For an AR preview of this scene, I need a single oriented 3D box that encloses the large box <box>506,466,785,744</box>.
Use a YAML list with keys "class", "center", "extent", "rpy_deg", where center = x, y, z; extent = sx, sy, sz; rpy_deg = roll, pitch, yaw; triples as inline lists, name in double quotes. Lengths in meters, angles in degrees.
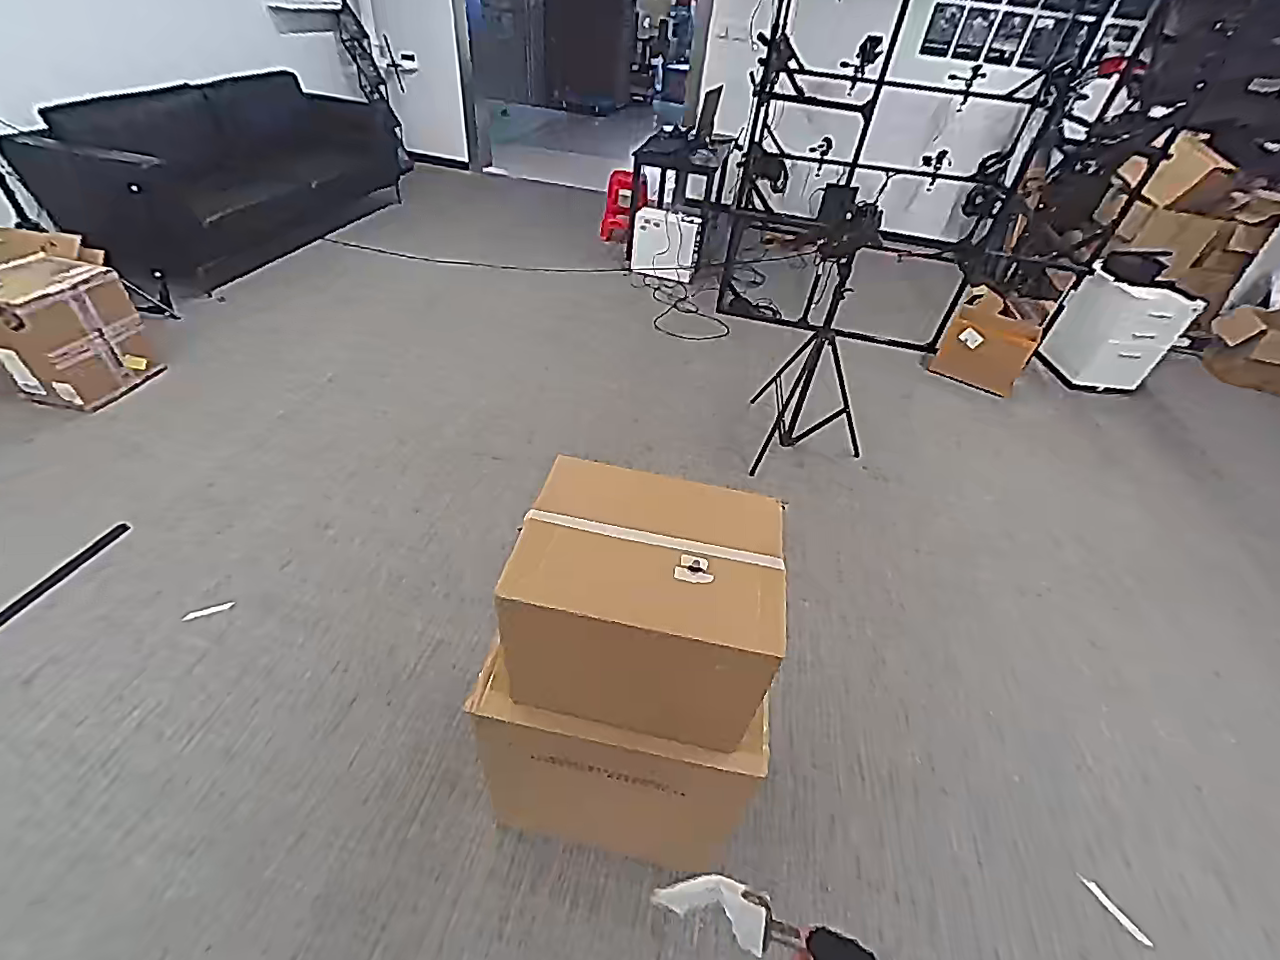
- class: "large box"
  center: [0.011, 0.216, 0.955]
  extent: [0.408, 0.320, 0.320]
  rpy_deg: [11, 42, 4]
